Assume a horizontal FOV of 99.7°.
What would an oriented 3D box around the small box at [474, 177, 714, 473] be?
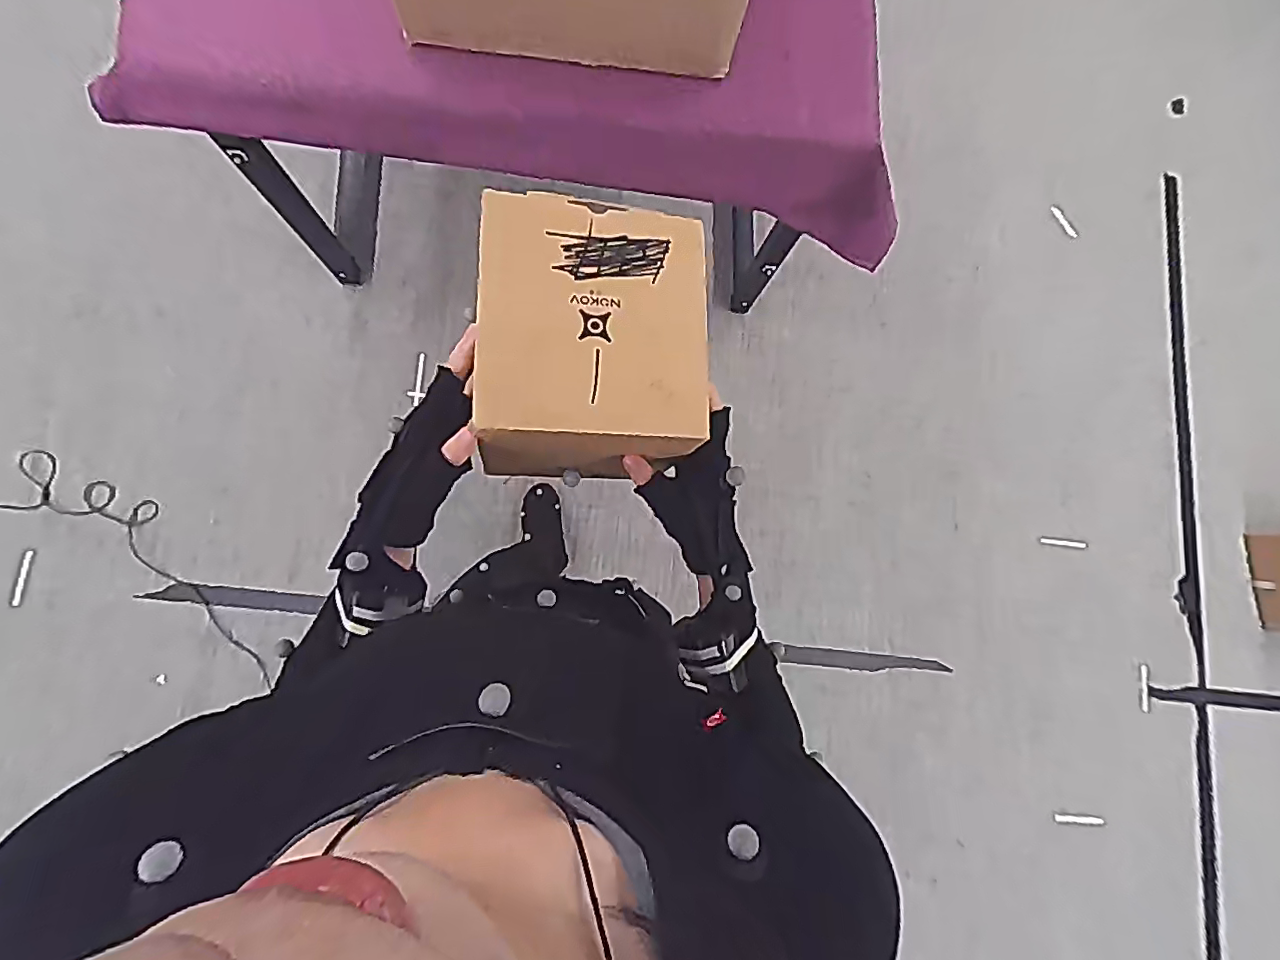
[{"bbox_3d":[-0.046,-0.111,0.456,0.168,0.176,0.179,1,78,-12],"label":"small box"}]
